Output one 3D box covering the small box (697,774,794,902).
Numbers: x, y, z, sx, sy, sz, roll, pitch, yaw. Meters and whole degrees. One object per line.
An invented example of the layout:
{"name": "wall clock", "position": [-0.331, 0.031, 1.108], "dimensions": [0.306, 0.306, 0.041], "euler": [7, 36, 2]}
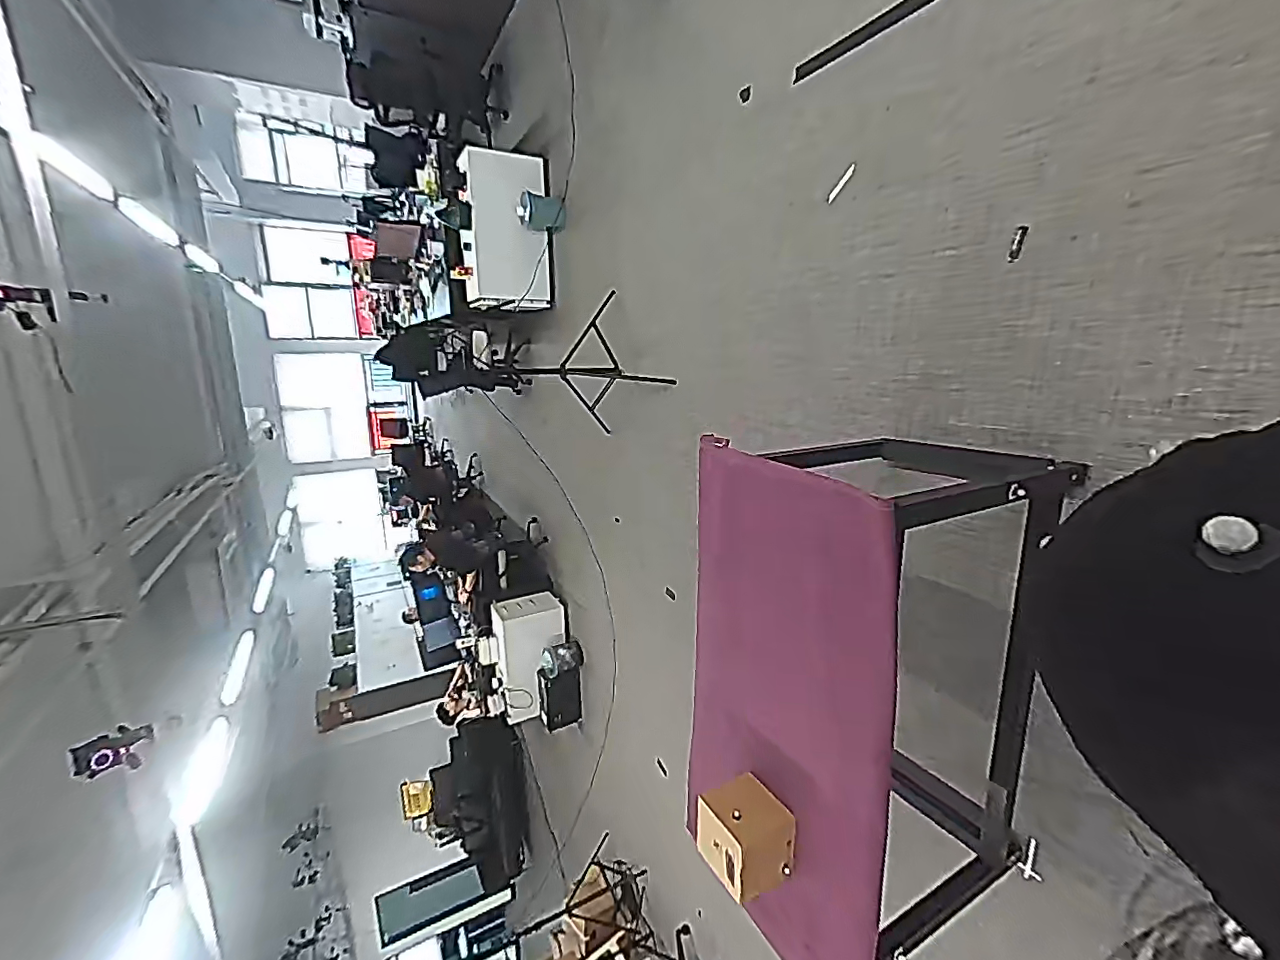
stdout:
{"name": "small box", "position": [0.260, 0.871, 1.337], "dimensions": [0.179, 0.176, 0.168], "euler": [23, 116, 59]}
